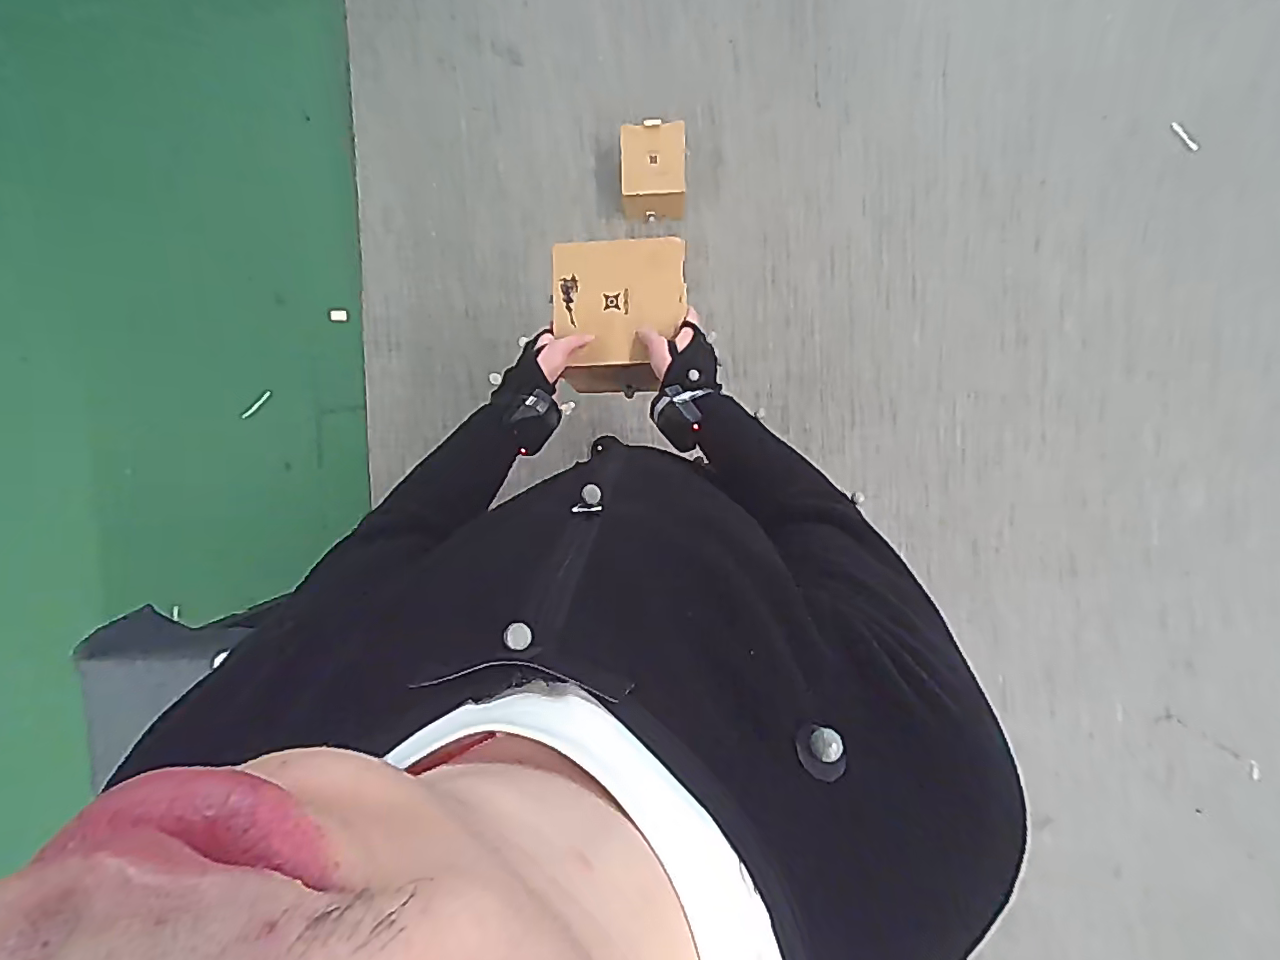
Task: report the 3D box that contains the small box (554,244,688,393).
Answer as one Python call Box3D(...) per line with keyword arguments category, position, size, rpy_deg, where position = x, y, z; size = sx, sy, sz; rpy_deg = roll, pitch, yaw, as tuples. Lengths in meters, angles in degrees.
Box3D(category="small box", position=(-0.024, -0.225, 0.785), size=(0.179, 0.176, 0.168), rpy_deg=(-1, 87, 2))

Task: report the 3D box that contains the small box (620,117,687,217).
Box3D(category="small box", position=(0.039, -0.819, 1.428), size=(0.168, 0.176, 0.179), rpy_deg=(1, 94, 5))
